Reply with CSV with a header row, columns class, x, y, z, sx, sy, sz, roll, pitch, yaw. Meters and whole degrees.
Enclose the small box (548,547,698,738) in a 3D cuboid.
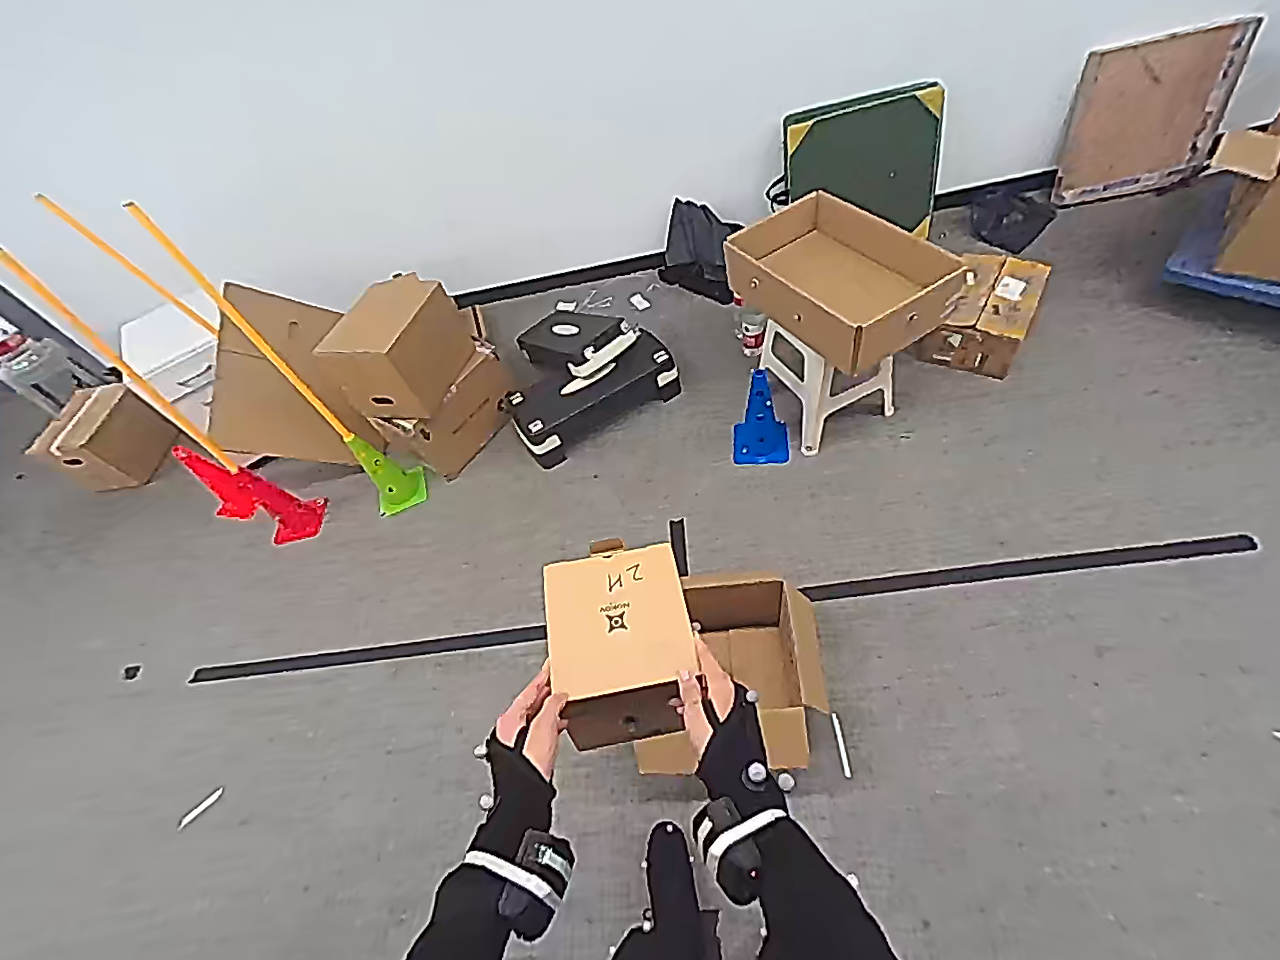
class,x,y,z,sx,sy,sz,roll,pitch,yaw
small box,-0.020,0.215,0.699,0.168,0.176,0.179,-9,47,-3
